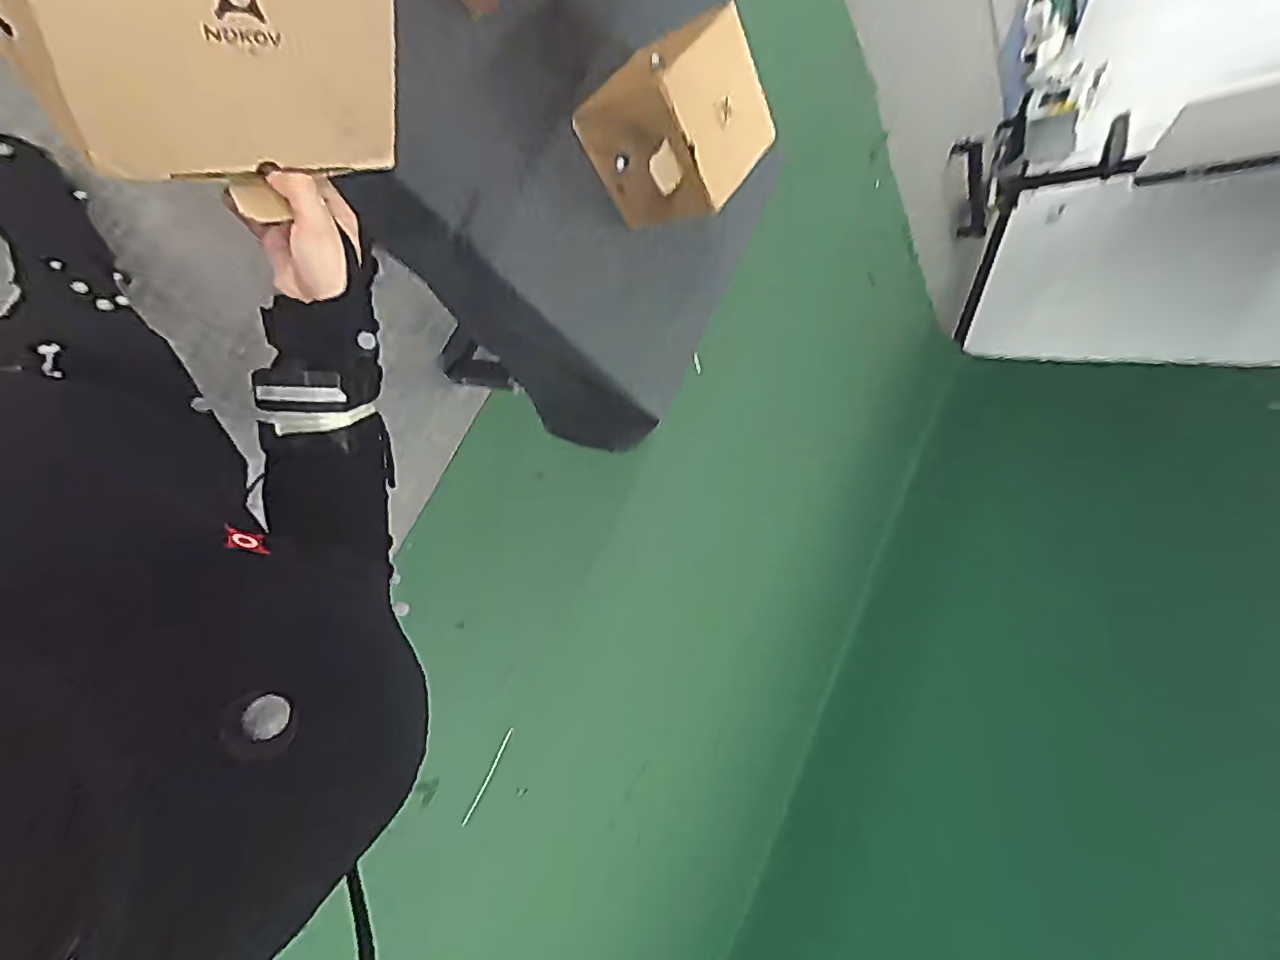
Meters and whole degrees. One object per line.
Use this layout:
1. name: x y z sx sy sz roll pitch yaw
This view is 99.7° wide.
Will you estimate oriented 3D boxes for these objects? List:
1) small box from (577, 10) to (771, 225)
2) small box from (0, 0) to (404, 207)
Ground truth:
1. small box: 0.047 -0.480 0.740 0.179 0.176 0.168 -56 133 -19
2. small box: -0.253 -0.285 0.299 0.168 0.176 0.179 -31 159 -38
